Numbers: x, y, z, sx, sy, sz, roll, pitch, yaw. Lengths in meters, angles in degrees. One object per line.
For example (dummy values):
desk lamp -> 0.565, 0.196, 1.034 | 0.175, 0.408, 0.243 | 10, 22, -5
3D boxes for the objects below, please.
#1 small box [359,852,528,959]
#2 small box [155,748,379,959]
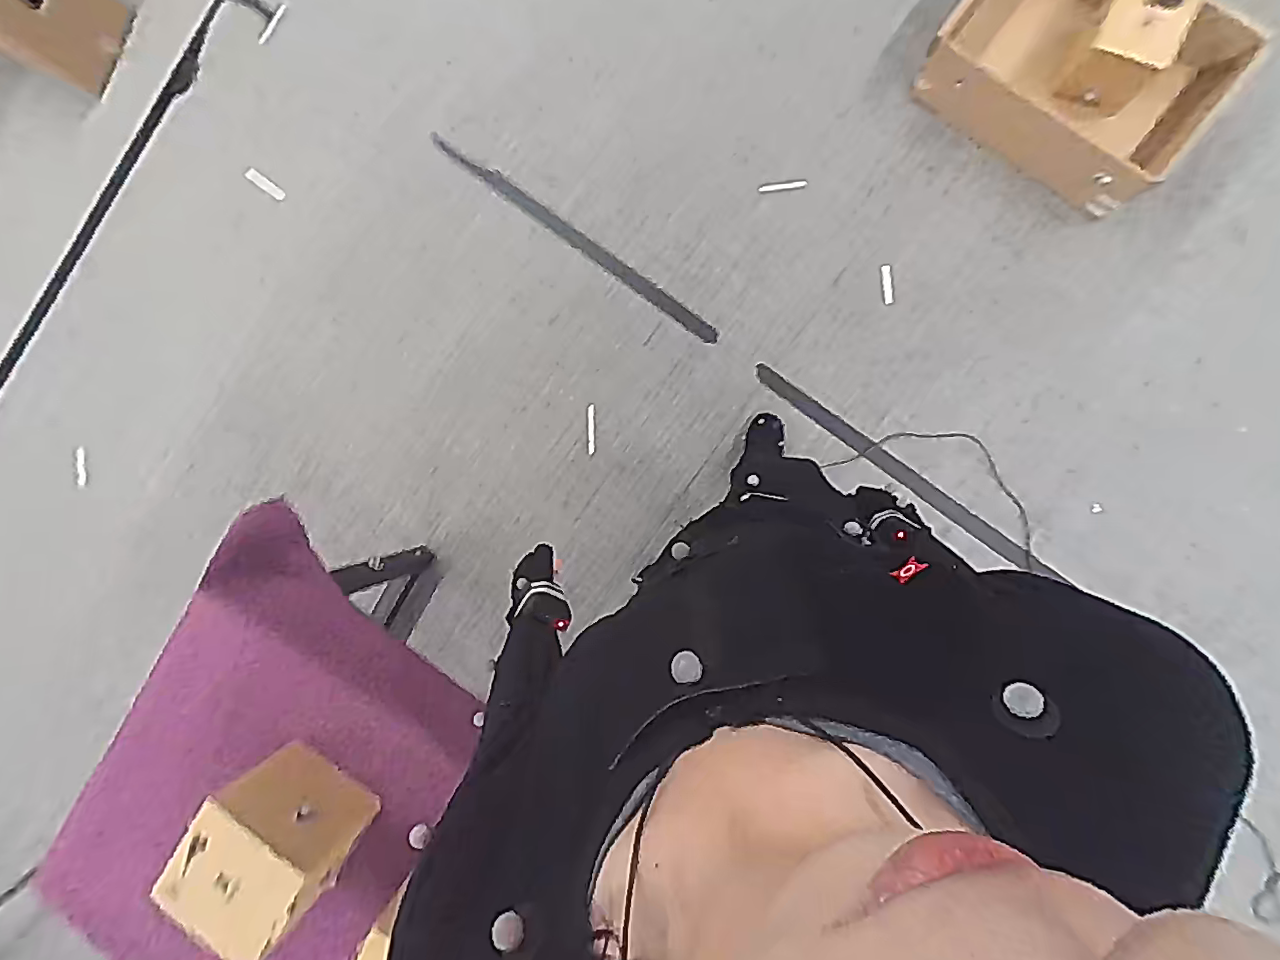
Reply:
small box -> -0.288, 0.679, 0.766 | 0.179, 0.176, 0.168 | 28, 95, 4
small box -> -0.526, 0.535, 0.790 | 0.179, 0.176, 0.168 | 33, 94, 4
